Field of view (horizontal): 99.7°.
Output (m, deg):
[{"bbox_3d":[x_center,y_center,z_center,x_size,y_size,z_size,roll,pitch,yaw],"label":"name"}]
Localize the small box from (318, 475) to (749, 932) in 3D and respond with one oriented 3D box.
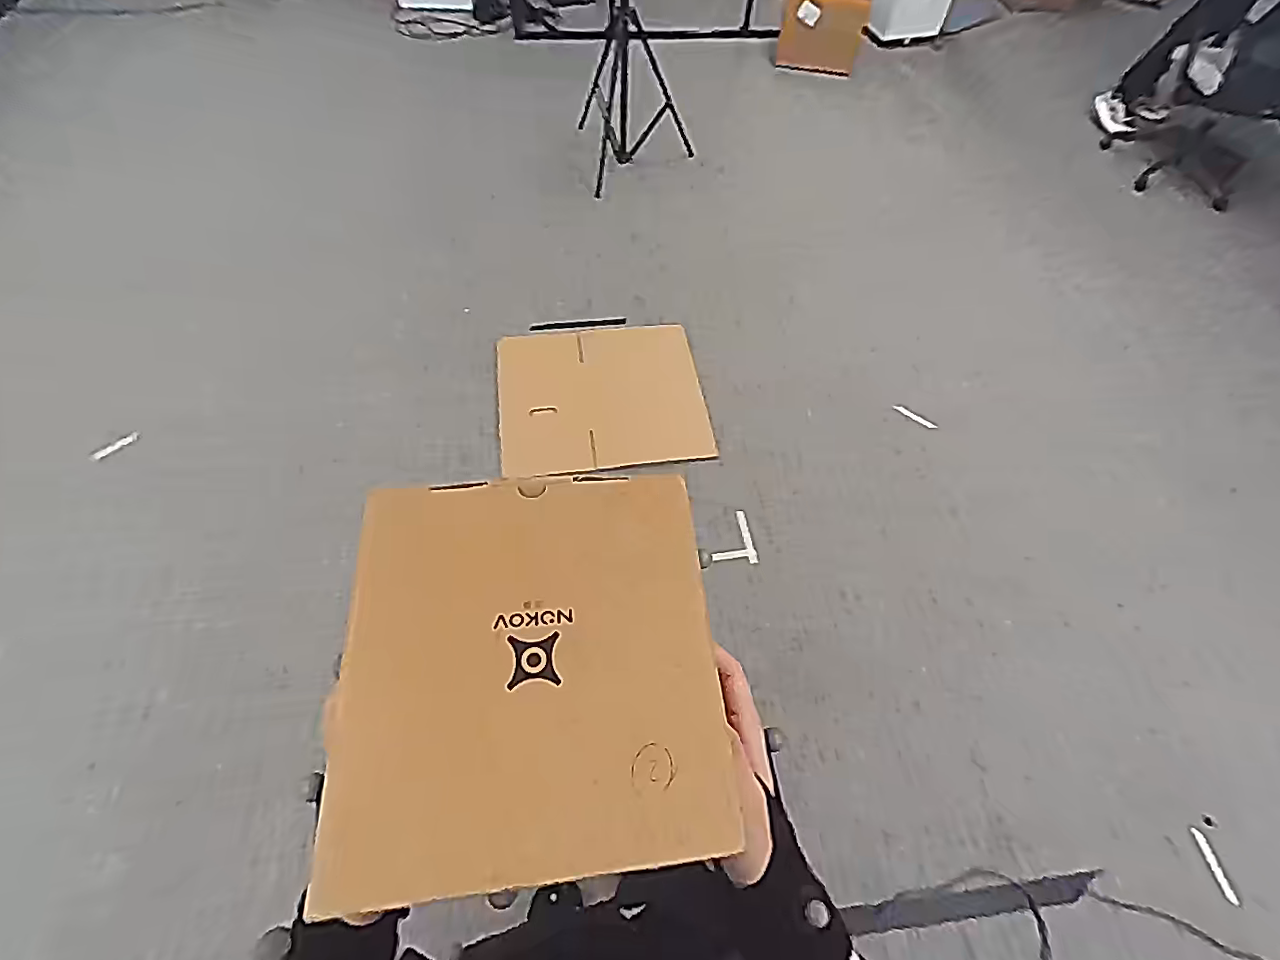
[{"bbox_3d":[-0.051,0.118,0.310,0.168,0.176,0.179,-5,61,-8],"label":"small box"}]
